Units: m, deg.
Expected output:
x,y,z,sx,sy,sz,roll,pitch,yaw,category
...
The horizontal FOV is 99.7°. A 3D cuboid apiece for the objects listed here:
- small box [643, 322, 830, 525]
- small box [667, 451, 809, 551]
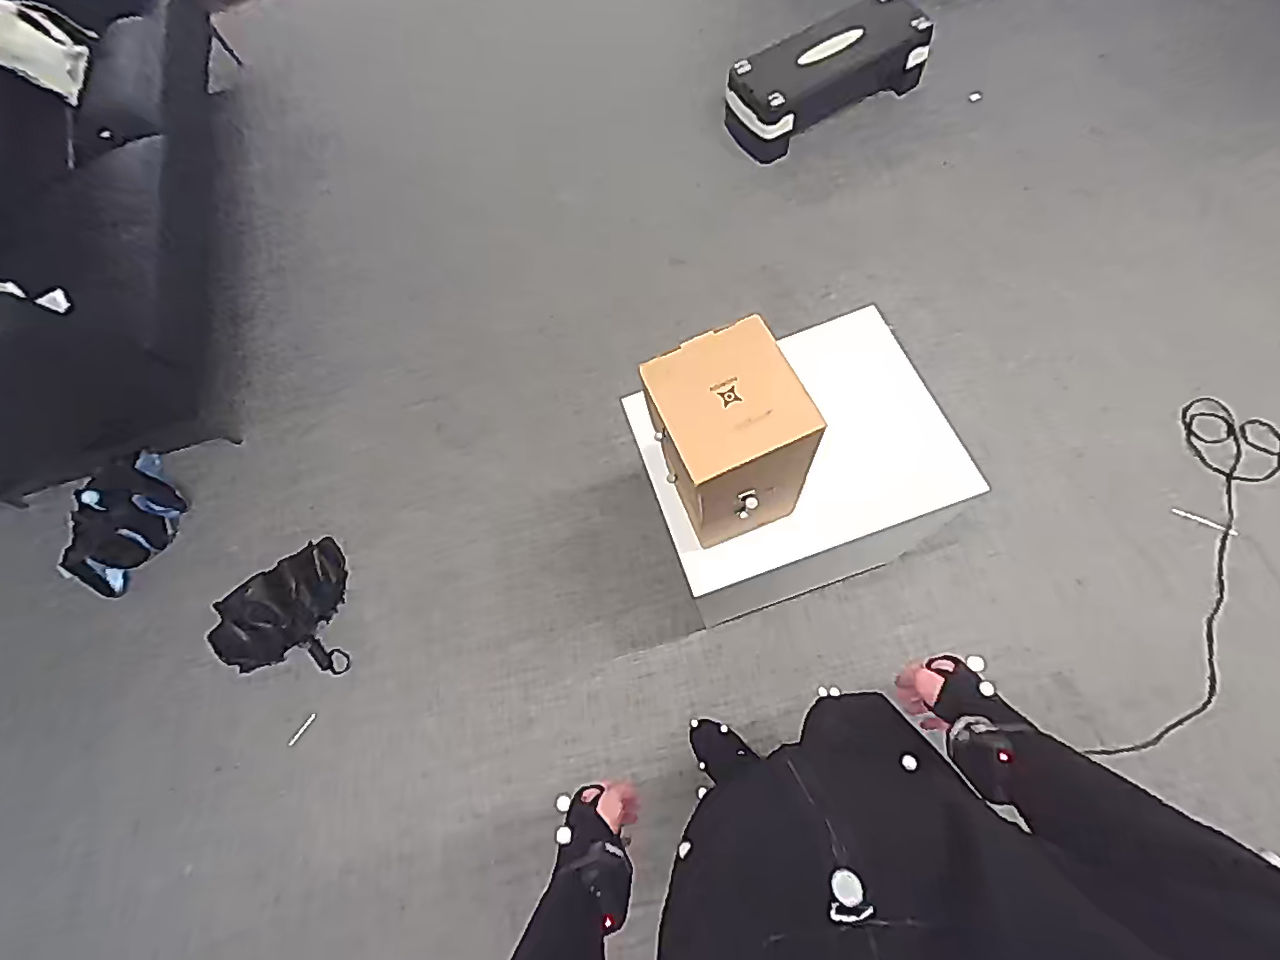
x,y,z,sx,sy,sz,roll,pitch,yaw,category
0.119,-0.064,0.708,0.168,0.176,0.179,-25,68,1,small box
0.145,-0.009,0.859,0.168,0.176,0.179,-22,67,1,small box
